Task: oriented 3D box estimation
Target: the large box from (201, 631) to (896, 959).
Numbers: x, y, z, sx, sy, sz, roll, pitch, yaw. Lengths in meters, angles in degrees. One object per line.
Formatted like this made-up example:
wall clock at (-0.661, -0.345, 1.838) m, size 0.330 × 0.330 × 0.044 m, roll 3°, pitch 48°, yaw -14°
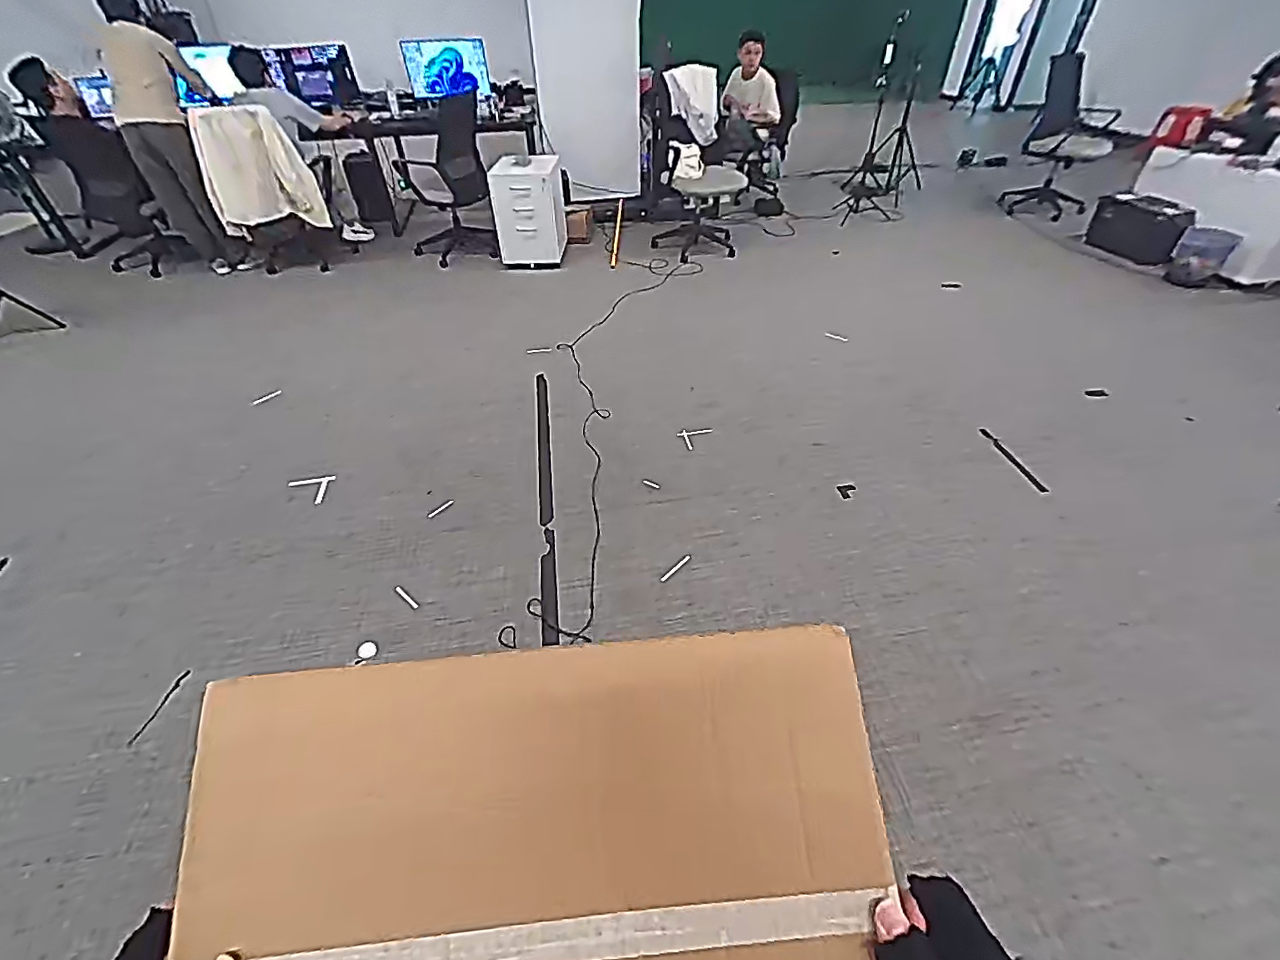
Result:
large box at (-0.056, 0.309, 0.453) m, size 0.408 × 0.320 × 0.320 m, roll -4°, pitch 74°, yaw -2°
